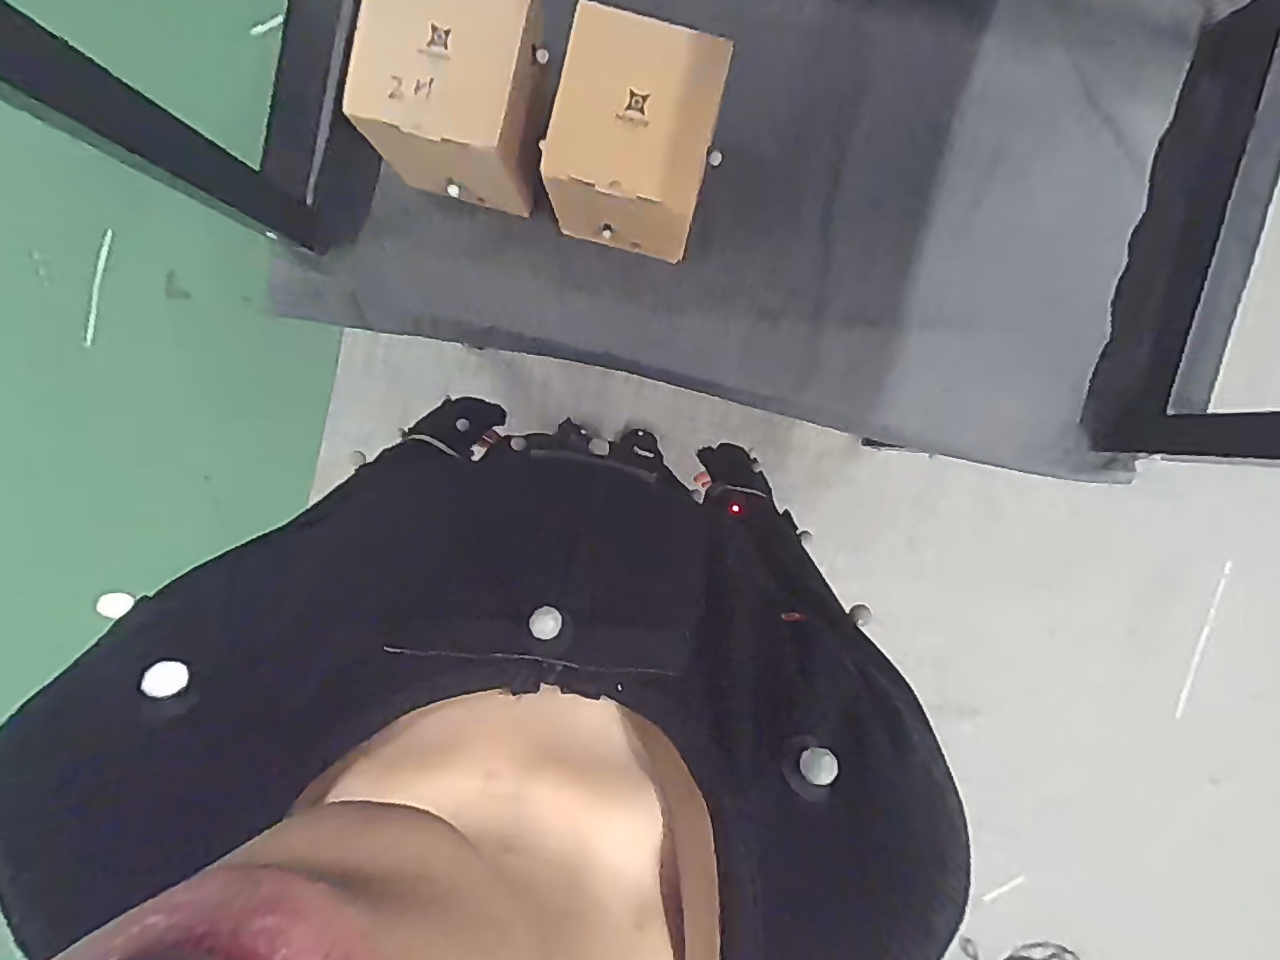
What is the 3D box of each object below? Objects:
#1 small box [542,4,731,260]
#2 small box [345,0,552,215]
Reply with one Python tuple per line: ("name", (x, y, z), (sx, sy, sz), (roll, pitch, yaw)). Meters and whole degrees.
("small box", (-0.006, -0.391, 0.641), (0.168, 0.176, 0.179), (14, 95, -2))
("small box", (-0.206, -0.447, 0.631), (0.168, 0.176, 0.179), (14, 94, -2))
